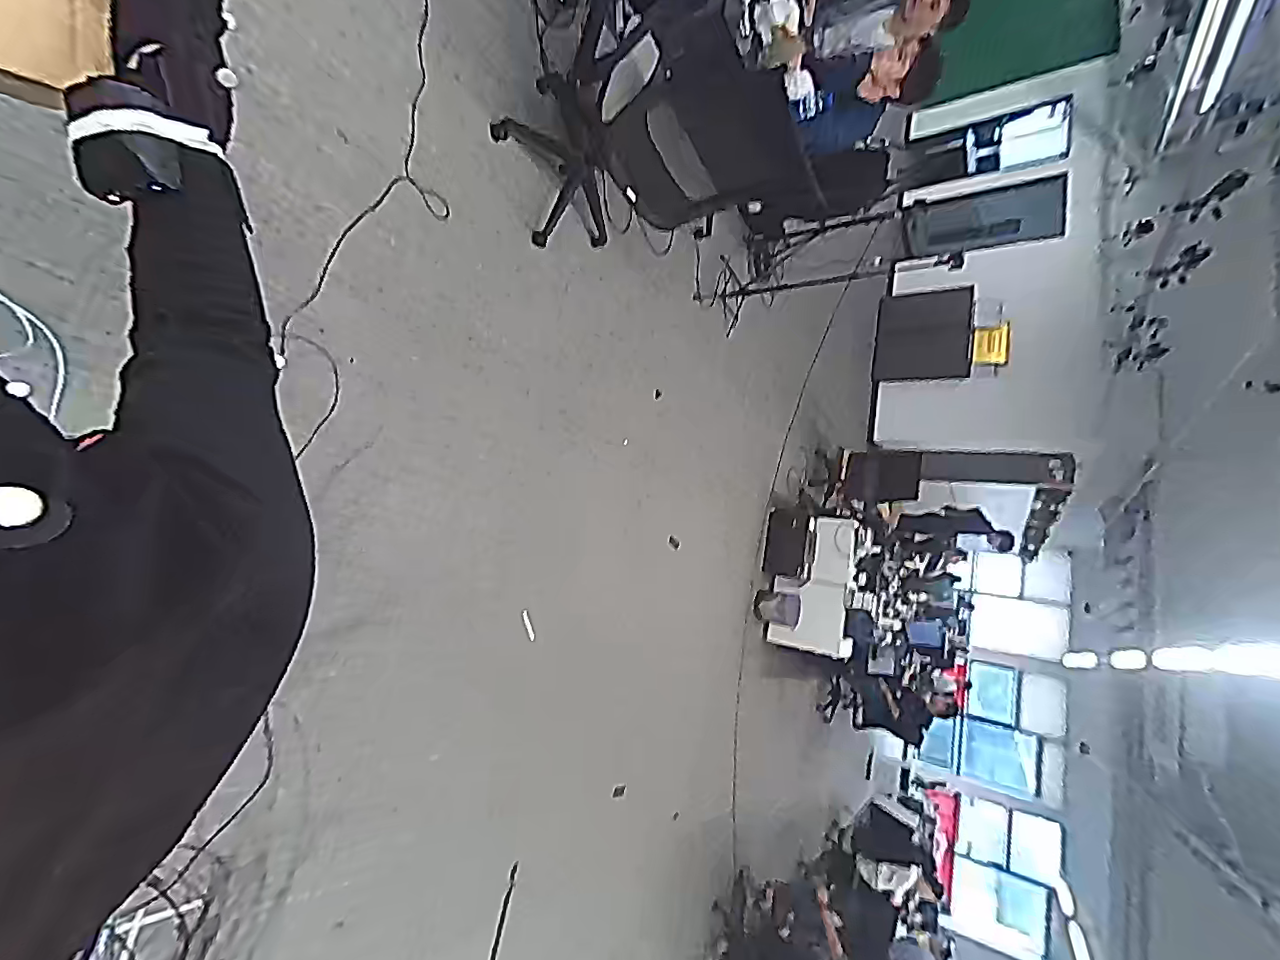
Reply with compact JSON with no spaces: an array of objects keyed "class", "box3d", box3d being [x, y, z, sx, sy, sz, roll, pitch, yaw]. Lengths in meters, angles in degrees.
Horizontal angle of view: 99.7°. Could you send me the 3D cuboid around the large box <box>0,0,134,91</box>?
[{"class":"large box","box3d":[-0.591,-0.473,0.291,0.408,0.320,0.320,-10,121,-55]}]
